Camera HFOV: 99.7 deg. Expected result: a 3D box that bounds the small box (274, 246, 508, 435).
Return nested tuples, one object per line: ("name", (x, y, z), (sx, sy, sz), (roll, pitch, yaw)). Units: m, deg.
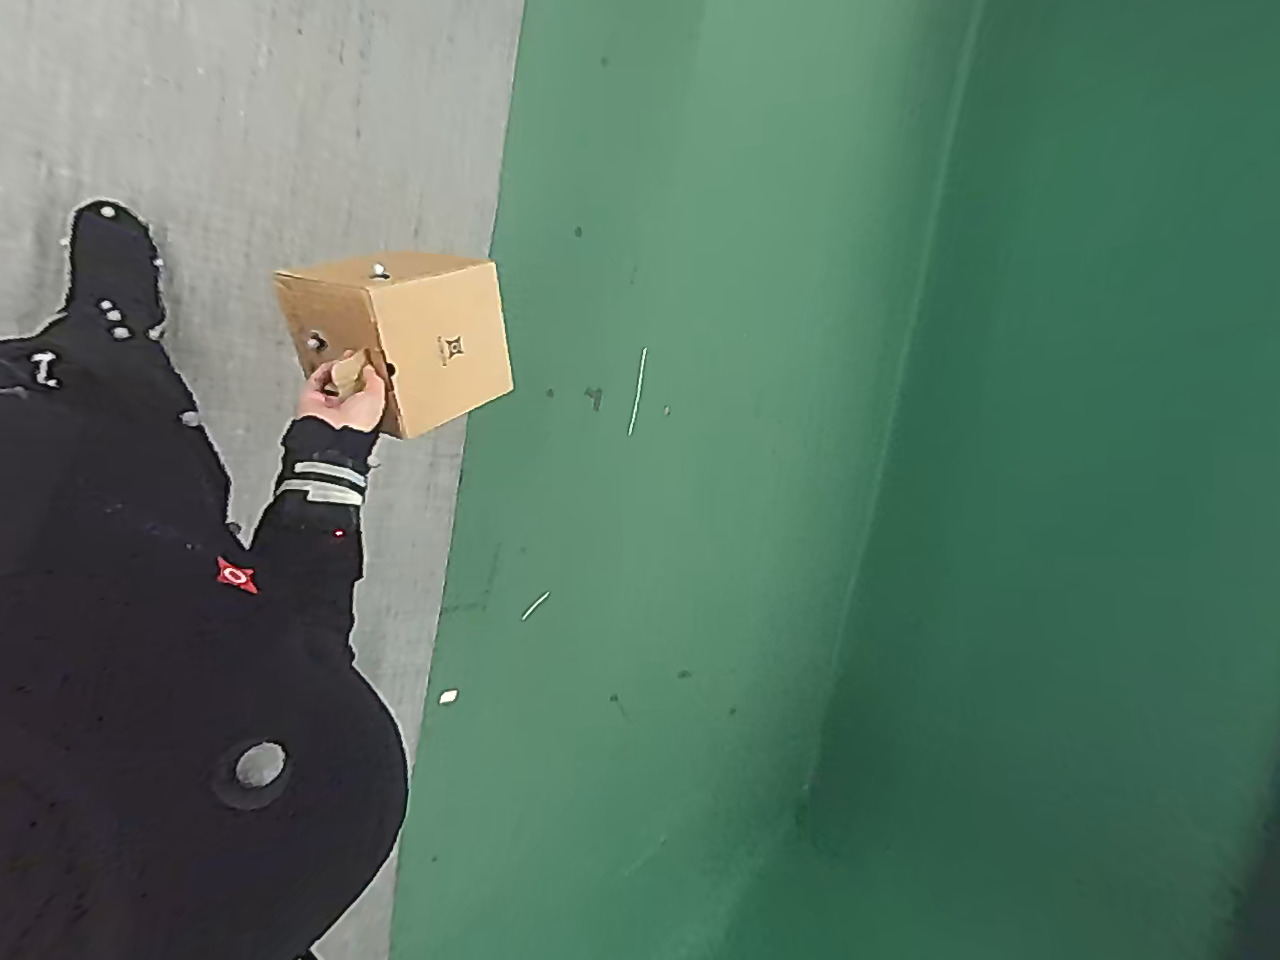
("small box", (-0.288, -0.179, 0.654), (0.179, 0.176, 0.168), (-43, 142, -46))
